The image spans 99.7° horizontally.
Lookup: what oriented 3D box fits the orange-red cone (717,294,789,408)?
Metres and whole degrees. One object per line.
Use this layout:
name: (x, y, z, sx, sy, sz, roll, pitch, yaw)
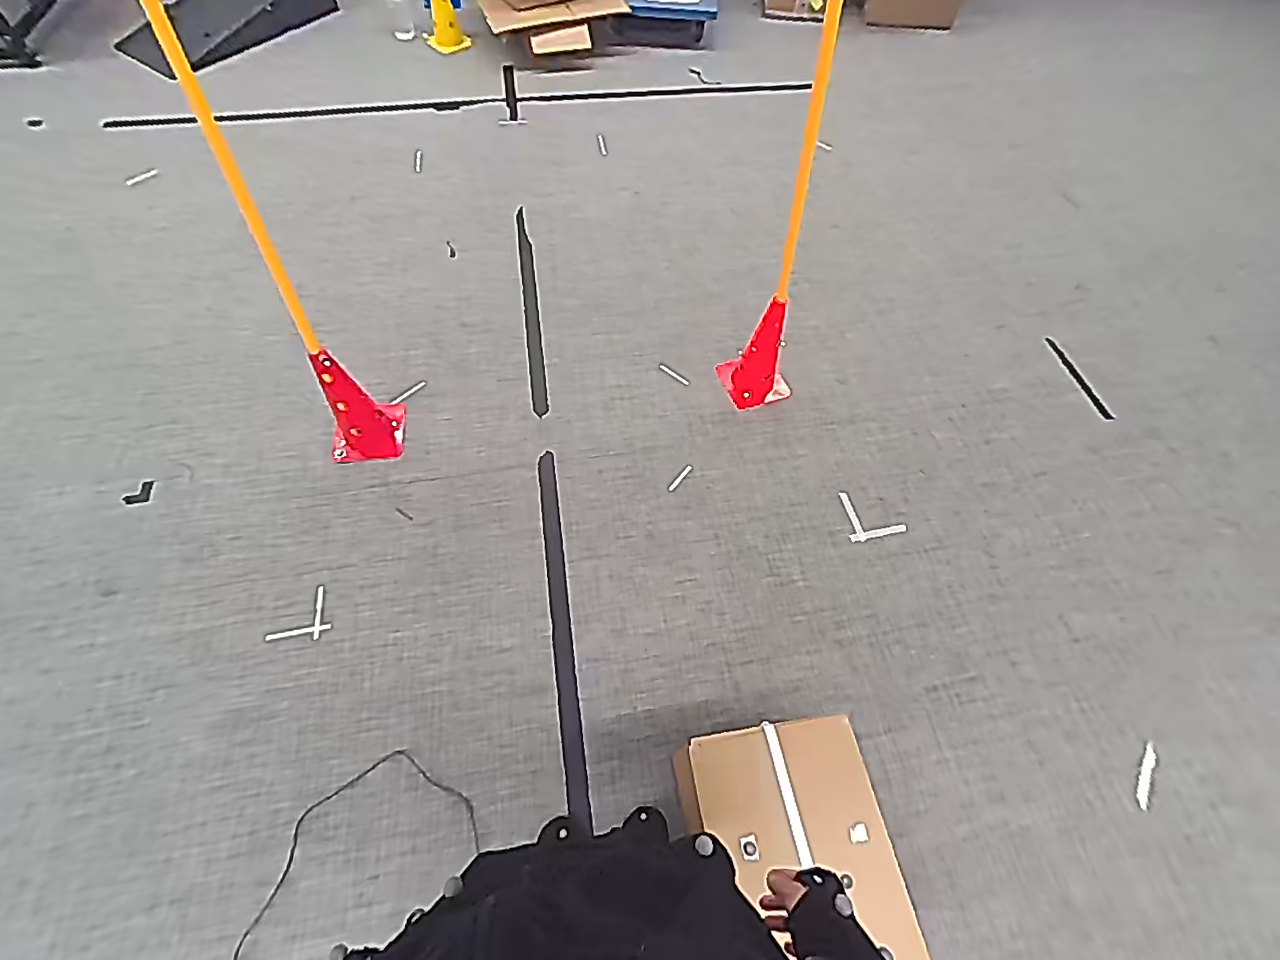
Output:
orange-red cone: (0.381, -0.412, 1.630, 0.199, 0.360, 0.198, -15, 63, -12)
